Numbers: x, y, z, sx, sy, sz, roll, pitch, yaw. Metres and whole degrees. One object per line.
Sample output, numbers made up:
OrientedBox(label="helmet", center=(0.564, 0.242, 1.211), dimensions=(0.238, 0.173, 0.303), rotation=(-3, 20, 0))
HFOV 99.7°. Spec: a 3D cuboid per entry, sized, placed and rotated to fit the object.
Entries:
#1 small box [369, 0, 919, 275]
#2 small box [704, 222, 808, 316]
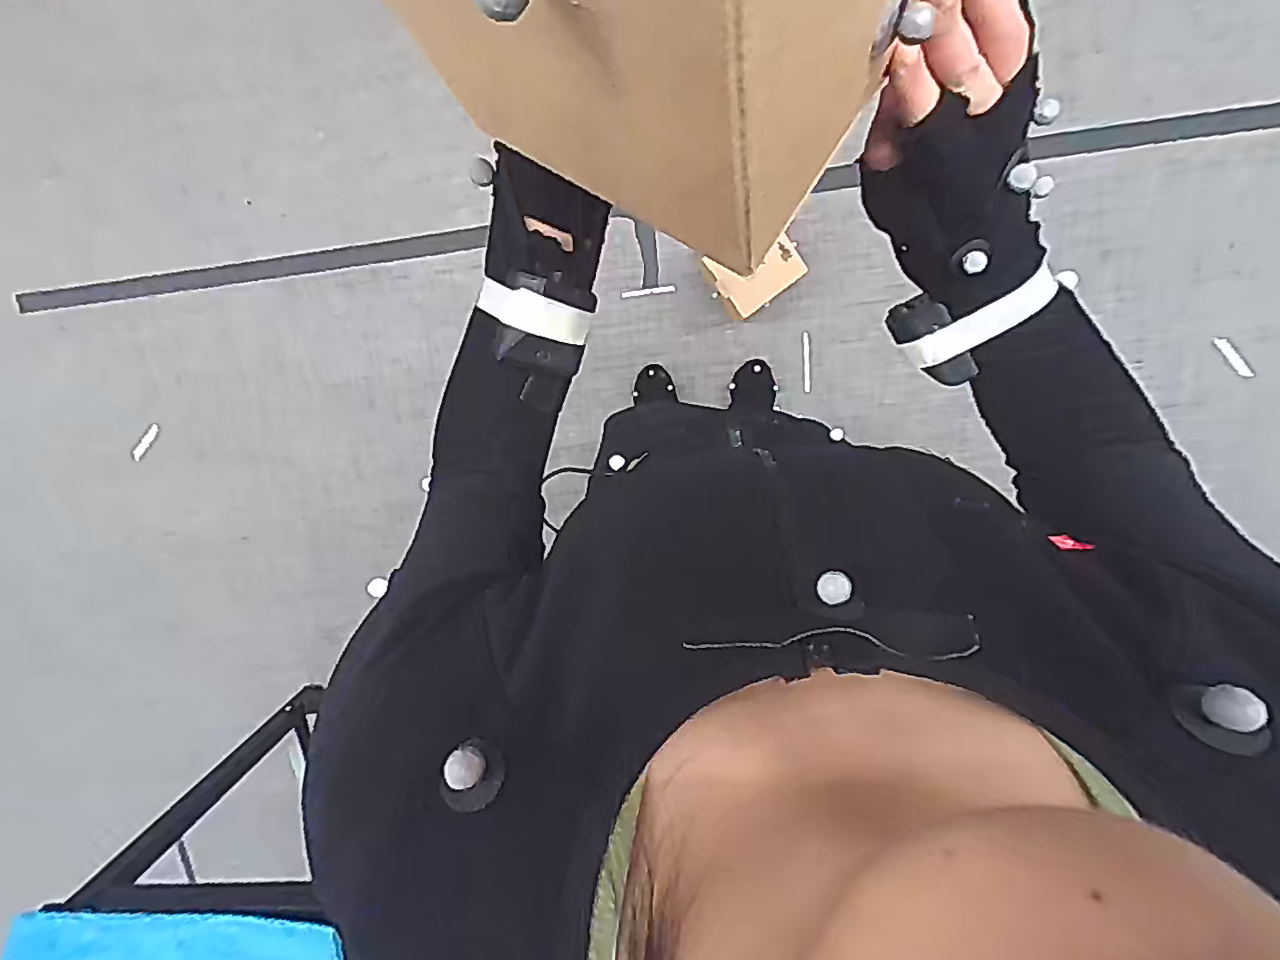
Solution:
OrientedBox(label="small box", center=(0.007, -0.208, 0.171), dimensions=(0.168, 0.176, 0.179), rotation=(34, 95, 13))
OrientedBox(label="small box", center=(0.262, -0.504, 1.270), dimensions=(0.179, 0.176, 0.168), rotation=(-38, 98, 12))
